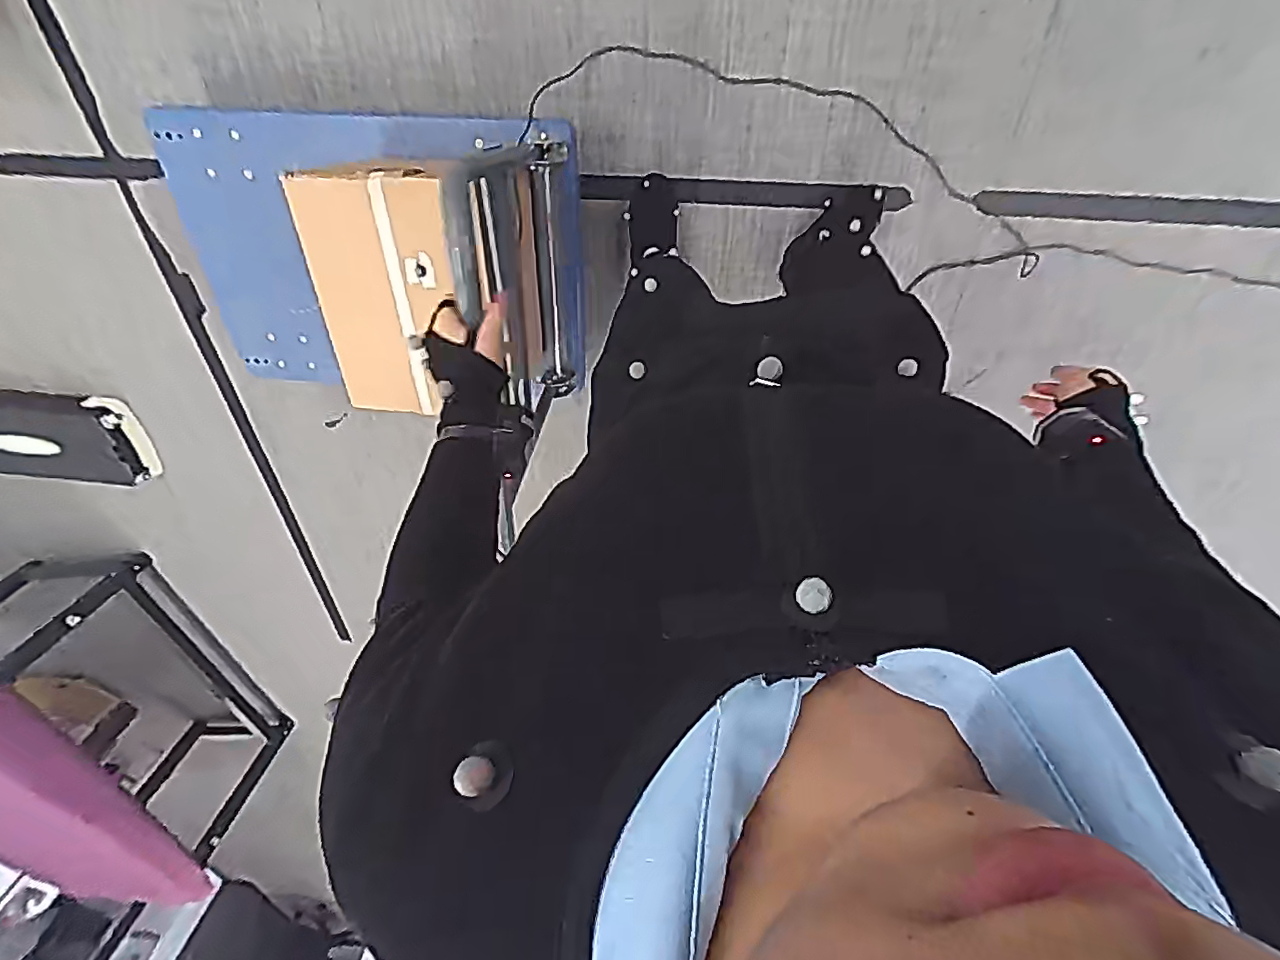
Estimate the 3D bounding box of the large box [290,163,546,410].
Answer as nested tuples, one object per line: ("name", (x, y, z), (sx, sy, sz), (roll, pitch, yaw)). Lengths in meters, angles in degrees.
("large box", (-0.390, -0.387, 1.075), (0.320, 0.320, 0.408), (3, 123, 3))
